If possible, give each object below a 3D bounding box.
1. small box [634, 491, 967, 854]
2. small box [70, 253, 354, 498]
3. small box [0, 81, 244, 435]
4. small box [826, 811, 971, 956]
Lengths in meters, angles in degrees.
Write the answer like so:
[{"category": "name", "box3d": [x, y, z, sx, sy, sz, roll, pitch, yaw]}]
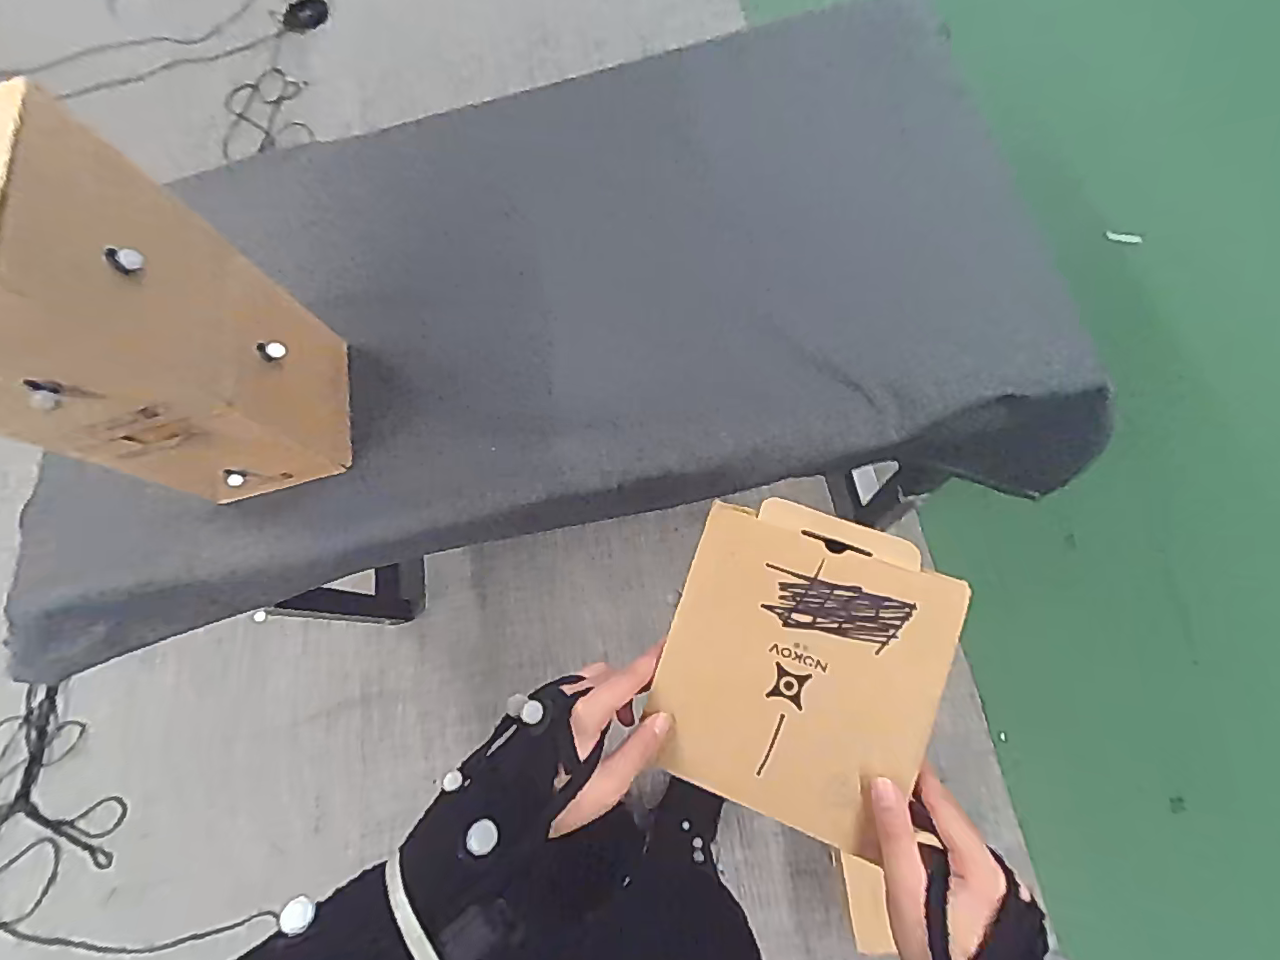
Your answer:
[{"category": "small box", "box3d": [0.110, 0.124, 0.415, 0.168, 0.176, 0.179, 18, 85, 12]}, {"category": "small box", "box3d": [-0.432, -0.100, 0.578, 0.168, 0.176, 0.179, -14, 71, 3]}, {"category": "small box", "box3d": [-0.450, -0.149, 0.423, 0.168, 0.176, 0.179, -16, 71, 3]}, {"category": "small box", "box3d": [0.440, 0.697, 0.952, 0.179, 0.176, 0.168, -8, 70, 8]}]
